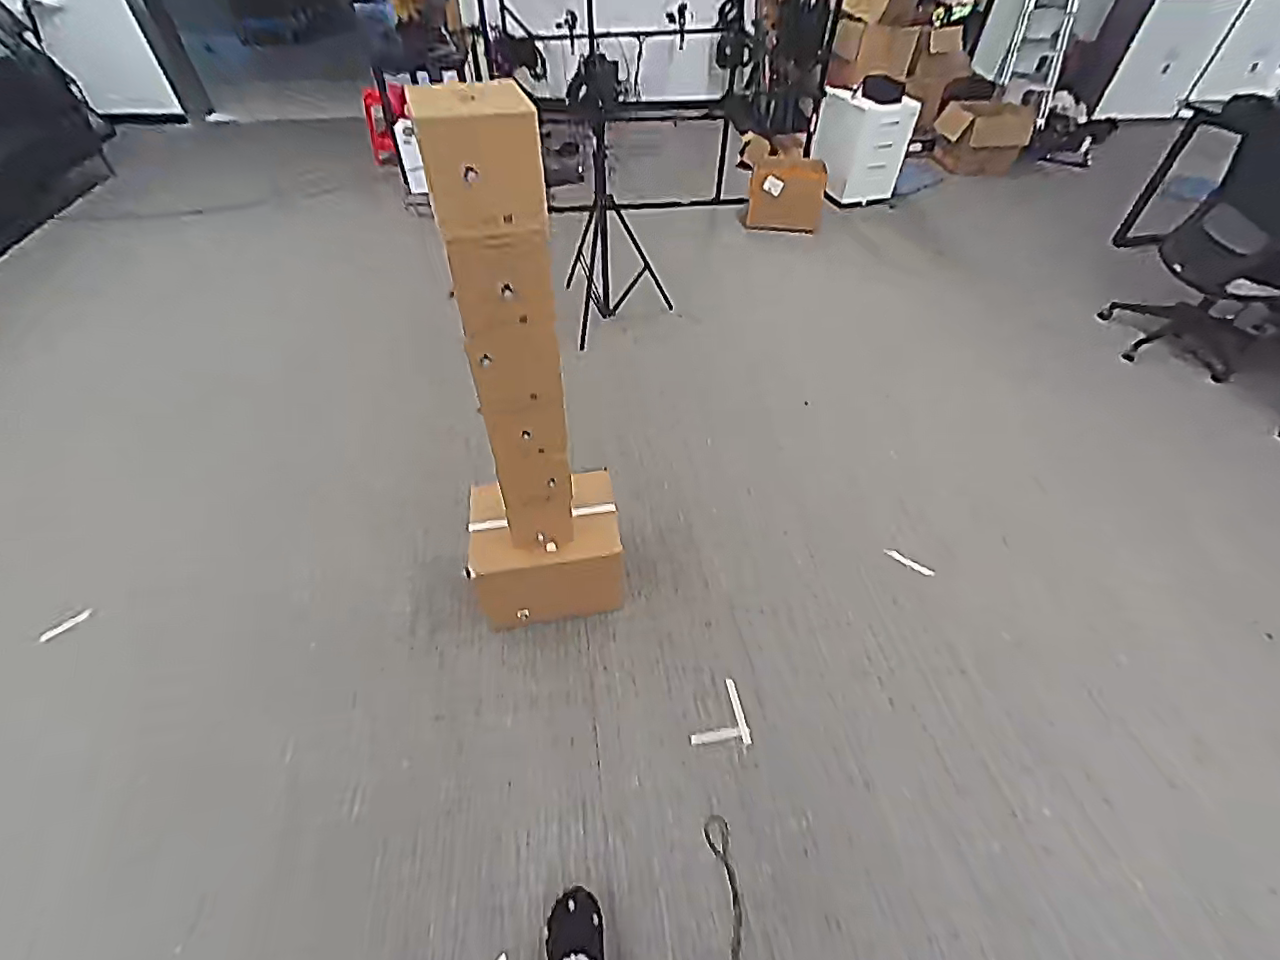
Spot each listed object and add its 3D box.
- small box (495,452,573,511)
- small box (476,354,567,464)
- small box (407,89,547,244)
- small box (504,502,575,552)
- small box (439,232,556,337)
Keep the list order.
[{"bbox_3d":[-0.260,-0.039,1.323,0.168,0.176,0.179,-8,48,-10],"label":"small box"},{"bbox_3d":[-0.261,-0.152,1.203,0.168,0.176,0.179,-11,49,-13],"label":"small box"},{"bbox_3d":[-0.247,-0.480,0.839,0.168,0.176,0.179,-14,49,-15],"label":"small box"},{"bbox_3d":[-0.269,0.066,1.446,0.168,0.176,0.179,-8,49,-8],"label":"small box"},{"bbox_3d":[-0.251,-0.369,0.958,0.168,0.176,0.179,-14,51,-15],"label":"small box"}]
